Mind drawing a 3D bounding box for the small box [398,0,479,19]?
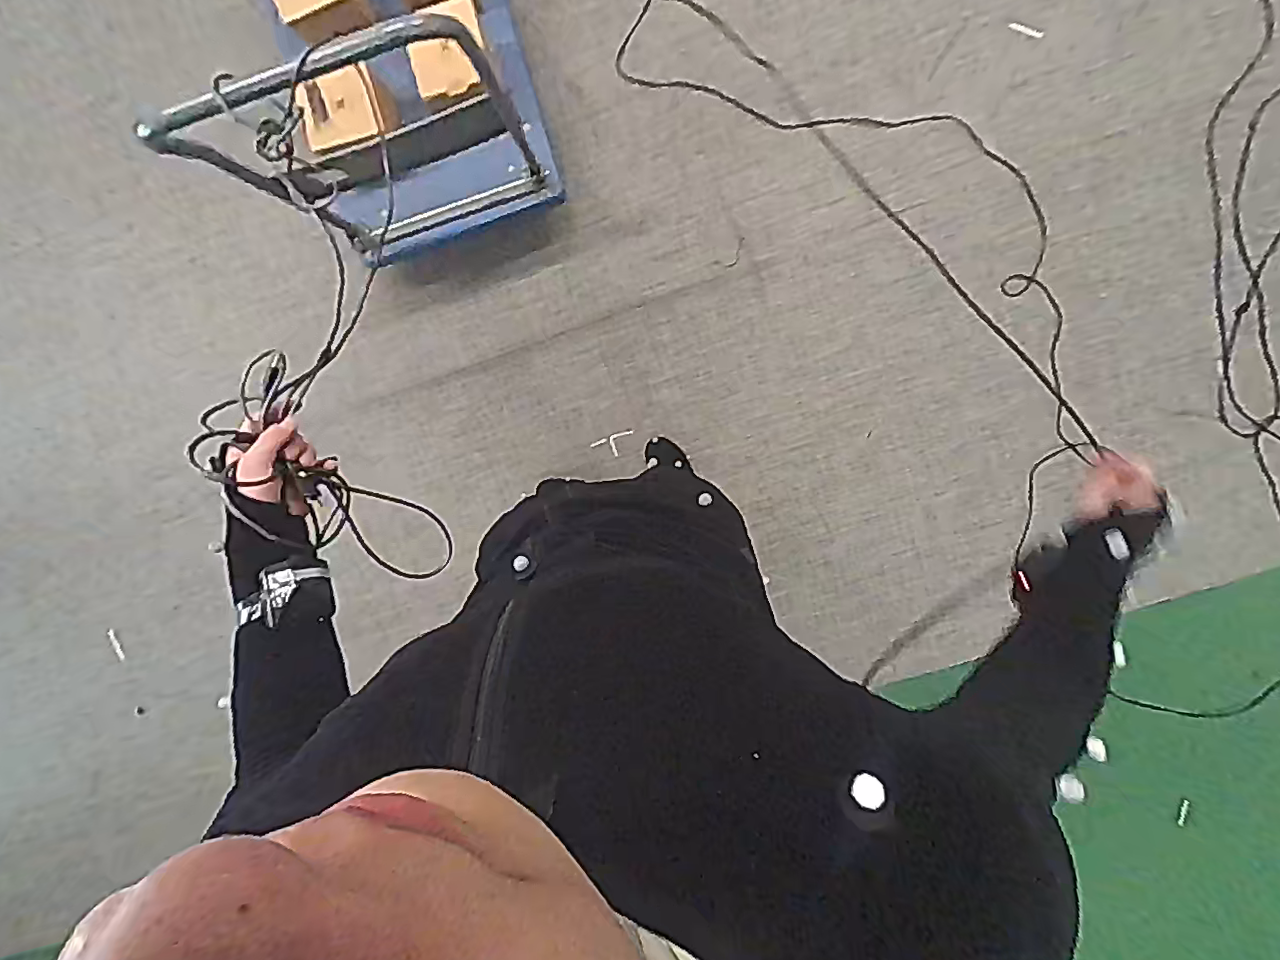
[{"bbox_3d":[-0.494,-1.182,1.234,0.168,0.176,0.179,-18,97,6],"label":"small box"}]

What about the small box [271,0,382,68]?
[{"bbox_3d":[-0.737,-1.108,1.255,0.168,0.176,0.179,-20,96,4],"label":"small box"}]

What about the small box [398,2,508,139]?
[{"bbox_3d":[-0.427,-0.944,1.264,0.168,0.176,0.179,-15,98,5],"label":"small box"}]
